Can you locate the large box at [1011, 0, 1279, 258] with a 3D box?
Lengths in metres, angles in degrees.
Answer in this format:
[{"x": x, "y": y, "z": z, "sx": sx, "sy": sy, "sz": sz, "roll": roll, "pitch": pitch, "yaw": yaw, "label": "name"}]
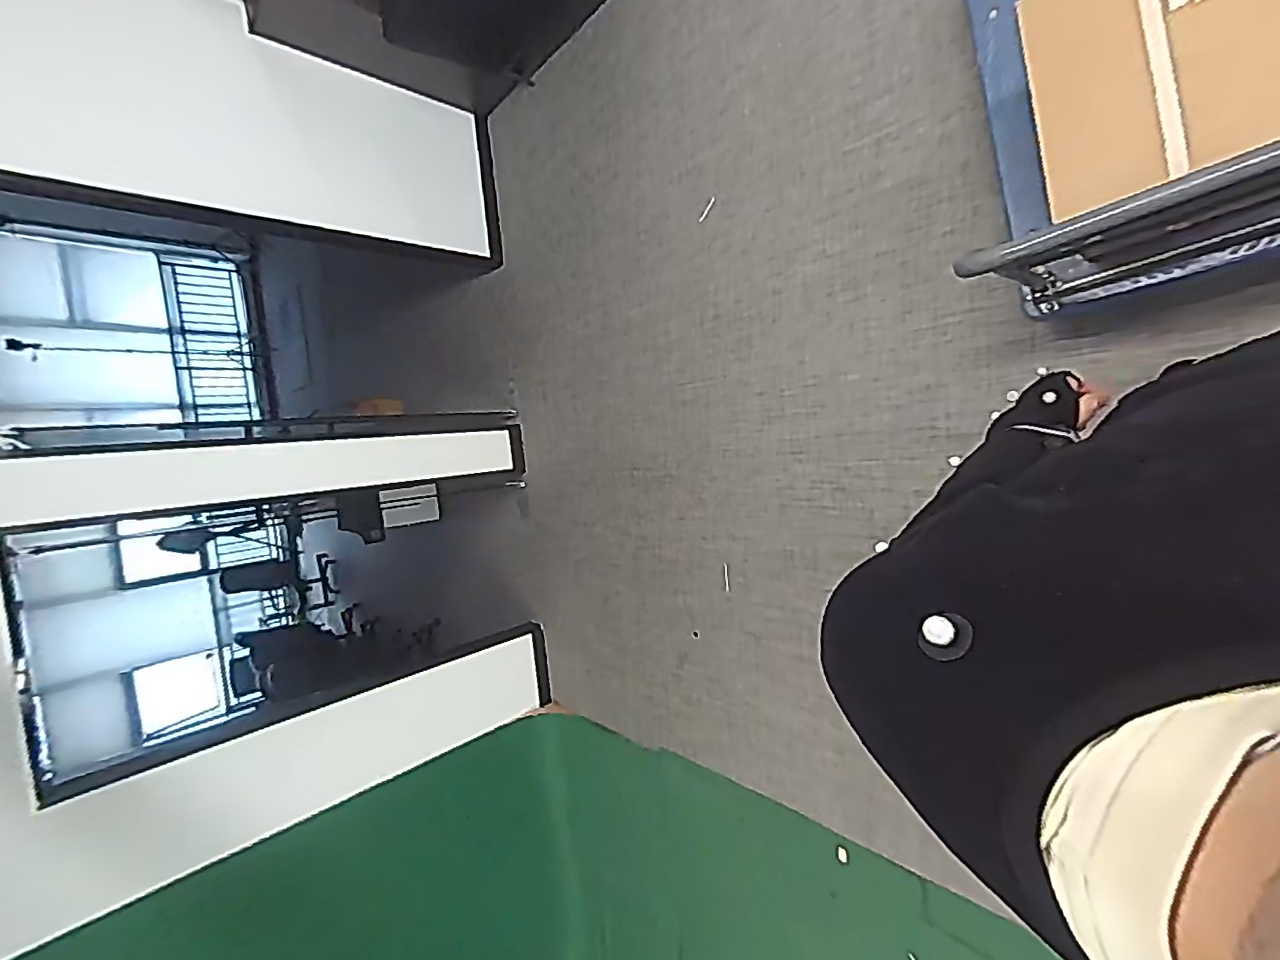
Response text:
[{"x": 0.891, "y": -0.661, "z": 0.925, "sx": 0.320, "sy": 0.320, "sz": 0.408, "roll": -10, "pitch": 88, "yaw": 47, "label": "large box"}]
